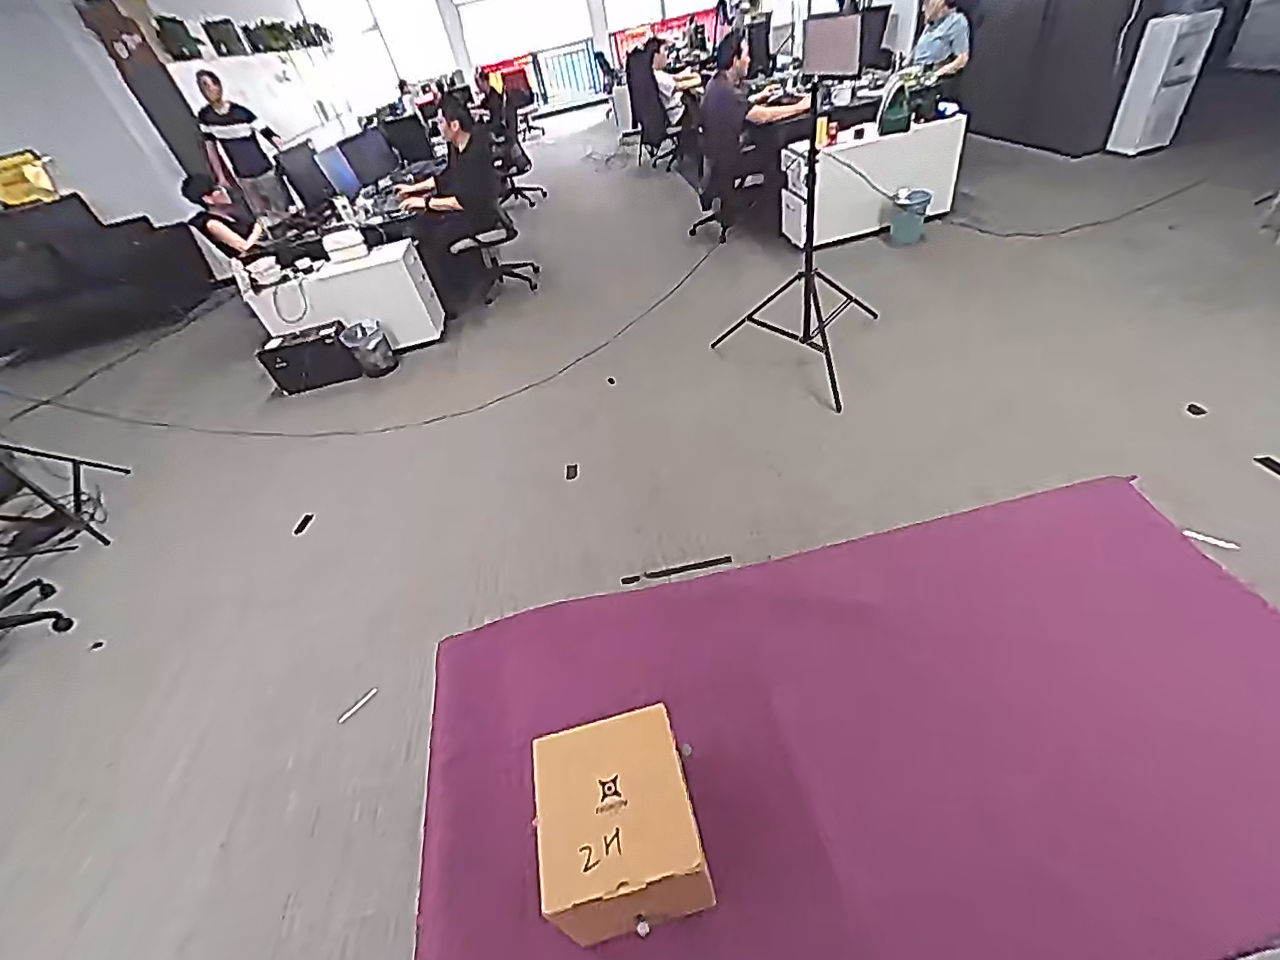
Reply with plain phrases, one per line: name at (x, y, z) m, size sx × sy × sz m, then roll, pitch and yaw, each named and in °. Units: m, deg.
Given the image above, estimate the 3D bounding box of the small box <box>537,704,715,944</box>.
small box at (-0.017, 0.402, 0.635) m, size 0.168 × 0.176 × 0.179 m, roll -15°, pitch 41°, yaw -3°
